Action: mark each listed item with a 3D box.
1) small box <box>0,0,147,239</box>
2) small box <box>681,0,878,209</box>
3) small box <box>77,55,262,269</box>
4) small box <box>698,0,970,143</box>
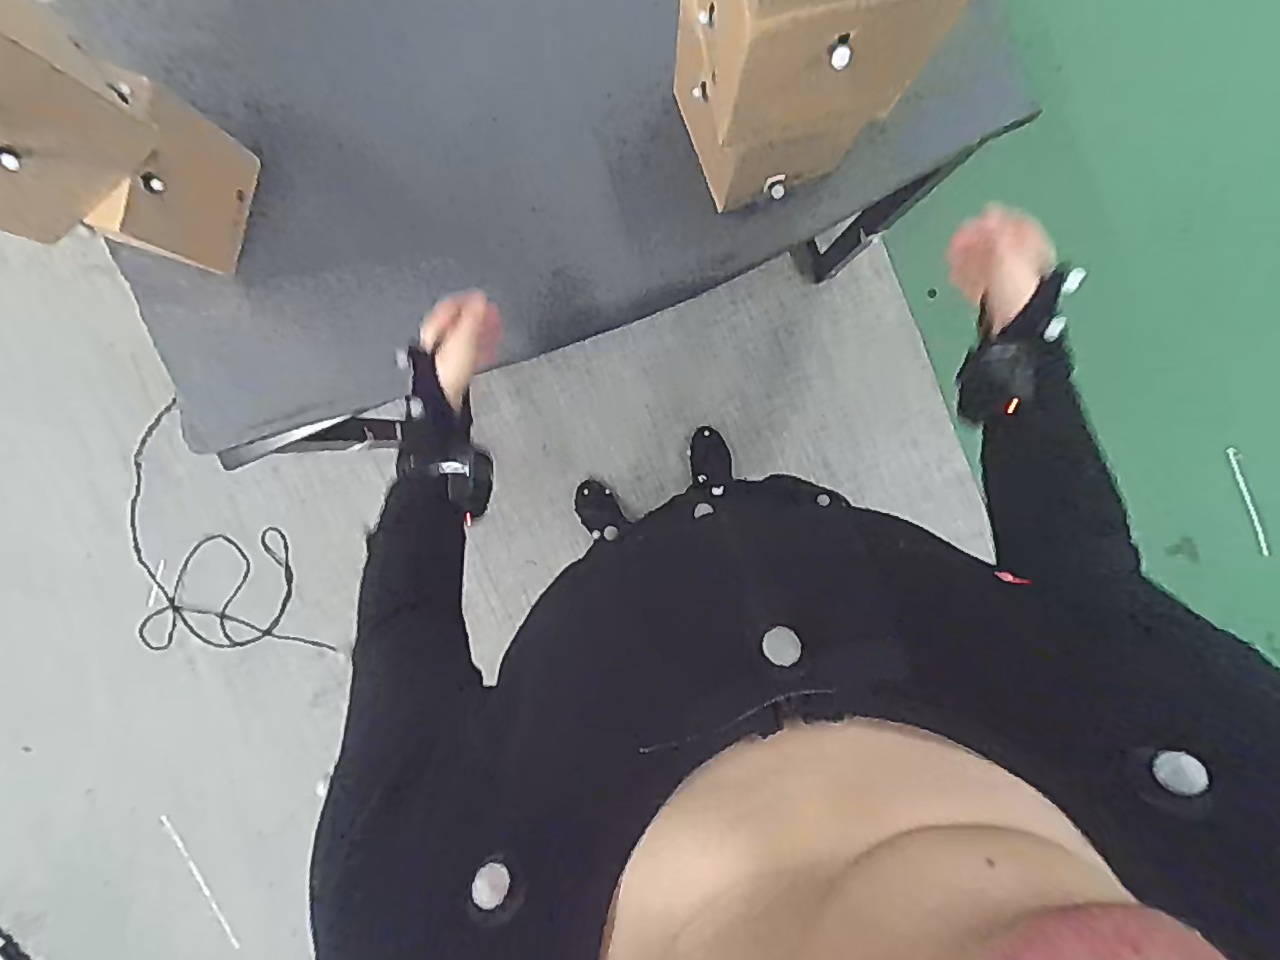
[{"bbox_3d":[-0.611,-0.358,0.485,0.179,0.176,0.168,-41,94,4],"label":"small box"},{"bbox_3d":[0.152,-0.457,0.629,0.168,0.176,0.179,-21,93,4],"label":"small box"},{"bbox_3d":[-0.610,-0.376,0.649,0.179,0.176,0.168,18,95,-1],"label":"small box"},{"bbox_3d":[0.154,-0.432,0.468,0.179,0.176,0.168,-11,93,3],"label":"small box"}]
